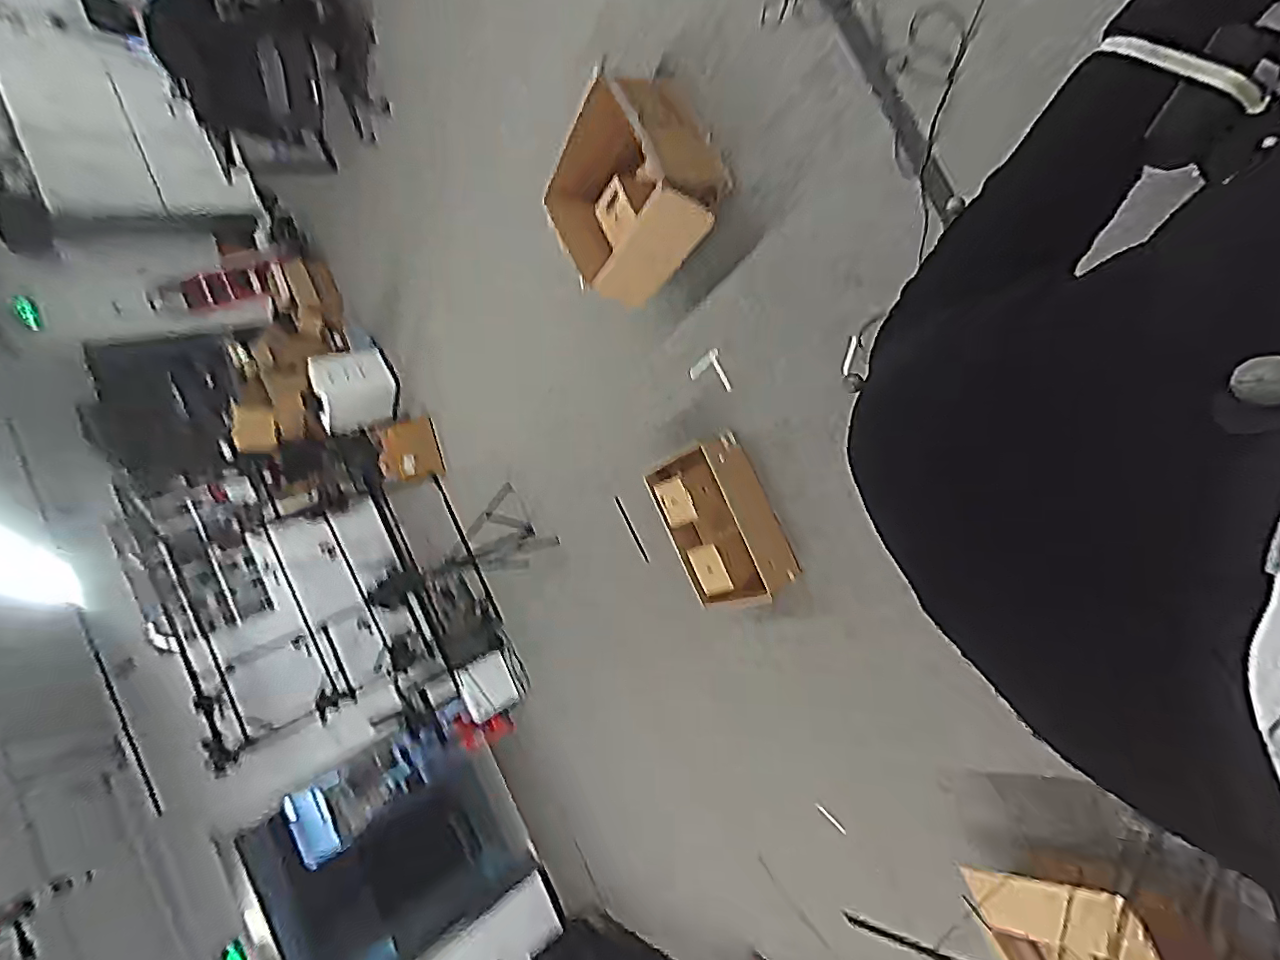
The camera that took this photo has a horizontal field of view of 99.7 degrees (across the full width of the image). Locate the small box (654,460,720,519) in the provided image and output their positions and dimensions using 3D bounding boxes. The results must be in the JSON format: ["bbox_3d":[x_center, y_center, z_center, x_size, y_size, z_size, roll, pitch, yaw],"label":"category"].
[{"bbox_3d":[0.191,0.035,2.124,0.179,0.176,0.168,-24,89,52],"label":"small box"}]

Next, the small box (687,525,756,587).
[{"bbox_3d":[0.319,0.295,2.099,0.168,0.176,0.179,-29,83,51],"label":"small box"}]
